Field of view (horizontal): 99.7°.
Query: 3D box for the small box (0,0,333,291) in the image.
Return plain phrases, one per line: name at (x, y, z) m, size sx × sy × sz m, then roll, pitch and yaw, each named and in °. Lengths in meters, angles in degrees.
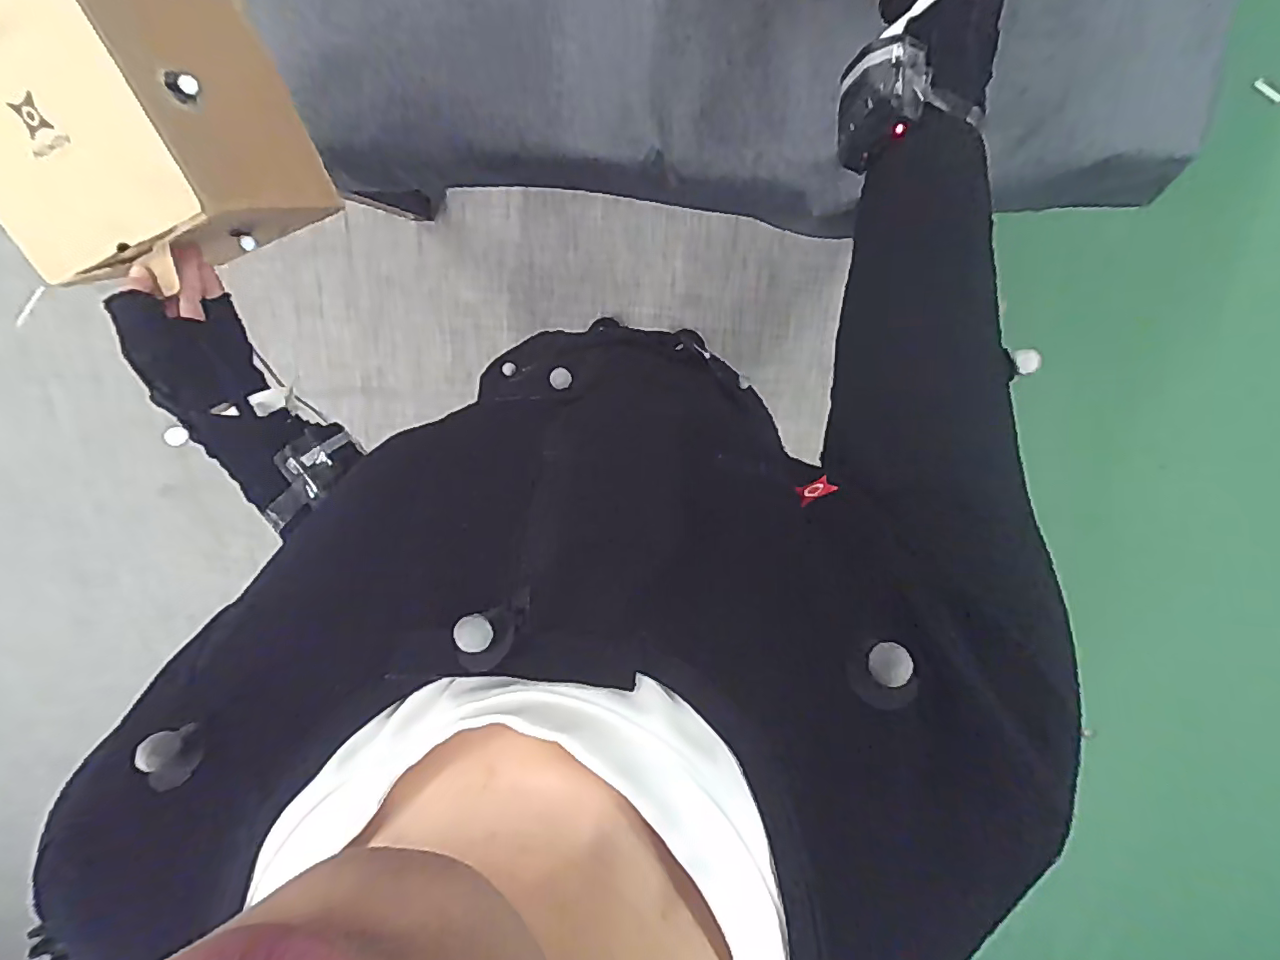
small box at (-0.394, -0.274, 0.431) m, size 0.168 × 0.176 × 0.179 m, roll -15°, pitch 114°, yaw 14°
